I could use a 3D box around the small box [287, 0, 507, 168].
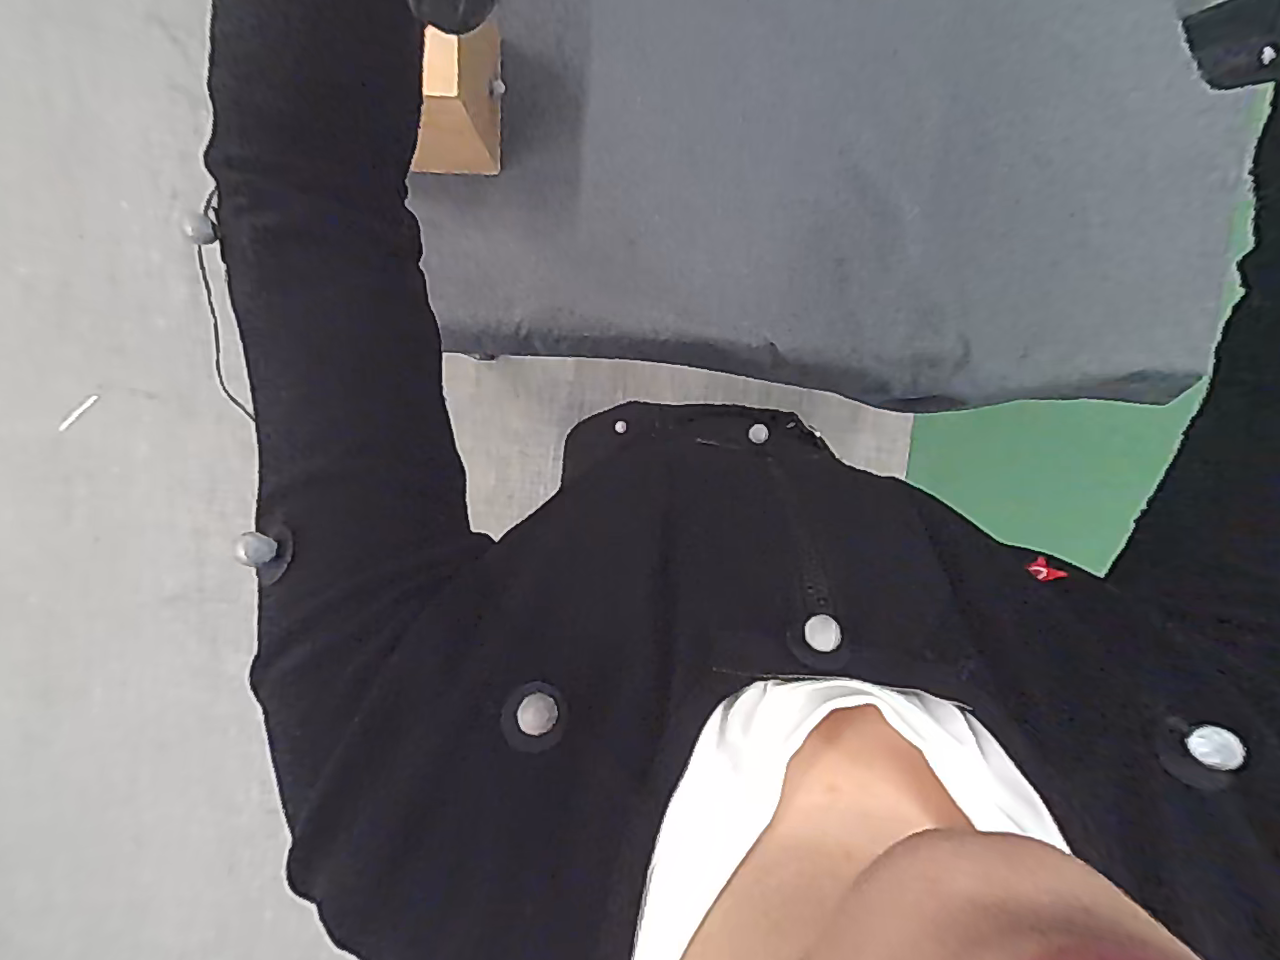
[{"bbox_3d":[-0.257,-0.472,0.604,0.179,0.176,0.168,2,96,-1],"label":"small box"}]
